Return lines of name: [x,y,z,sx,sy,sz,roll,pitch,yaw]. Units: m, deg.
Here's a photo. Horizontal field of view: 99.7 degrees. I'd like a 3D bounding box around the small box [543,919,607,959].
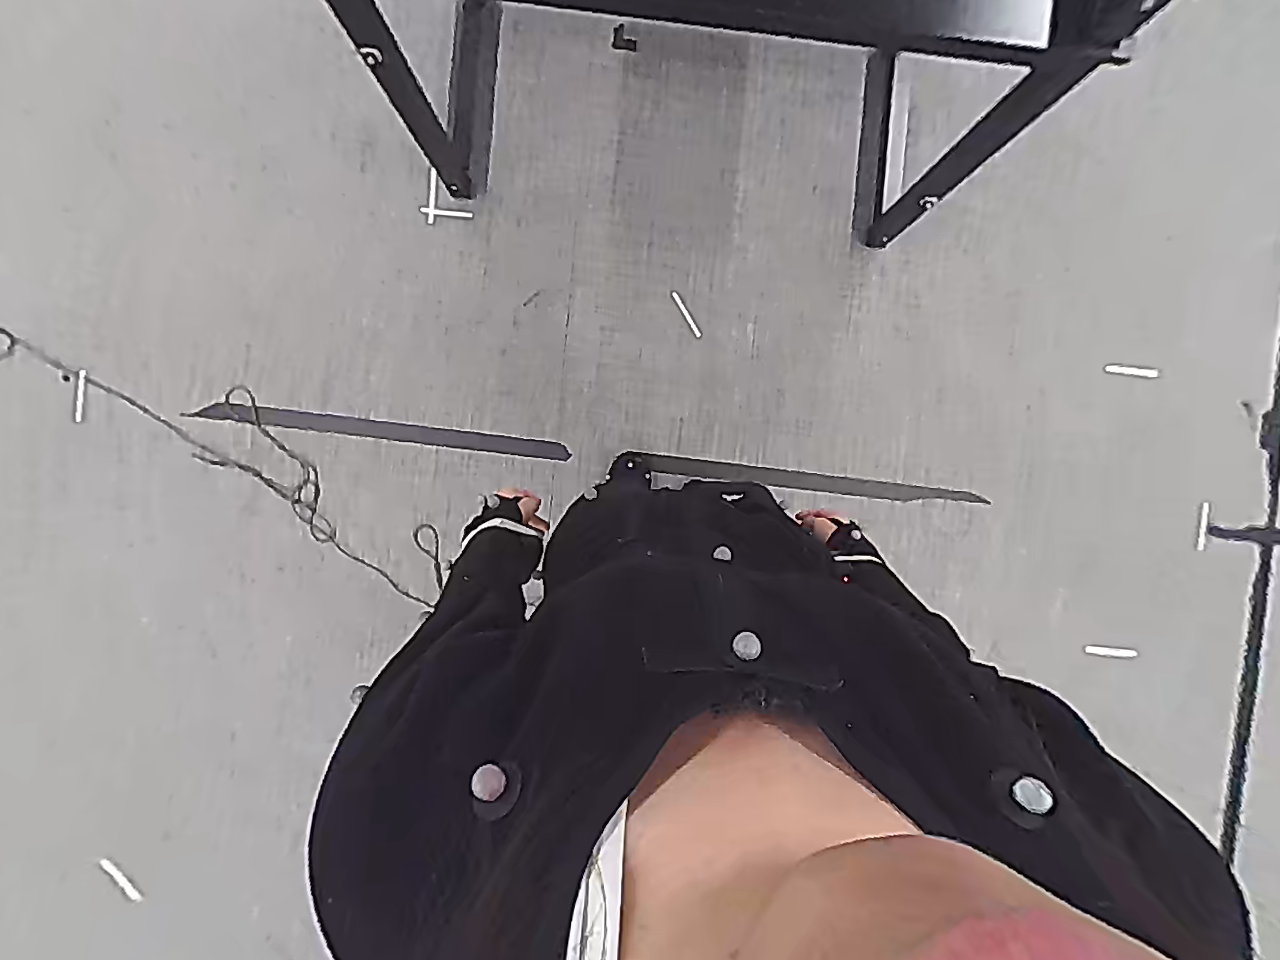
small box: [-0.176,1.316,1.437,0.168,0.176,0.179,3,93,-2]
